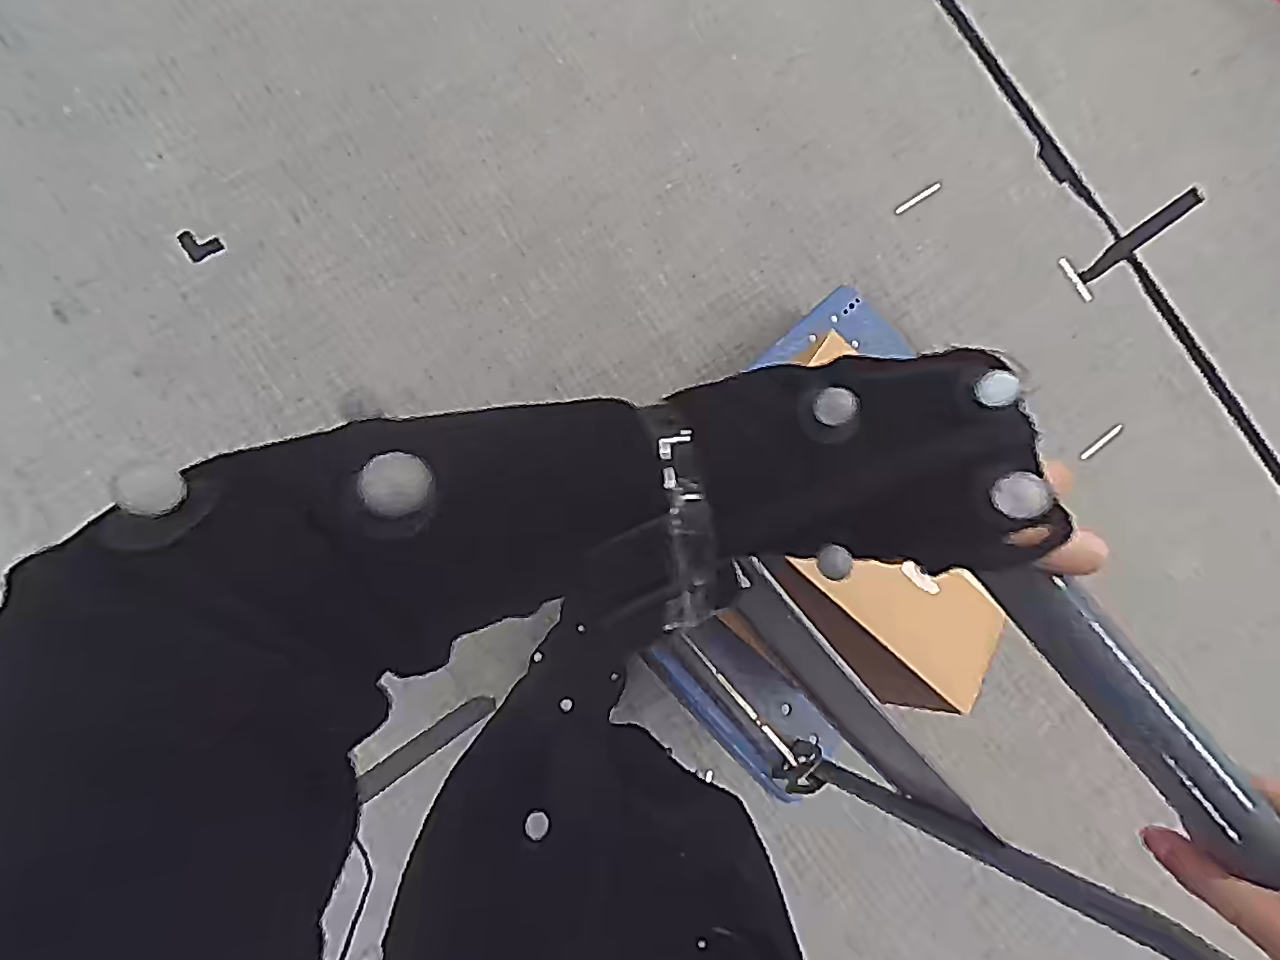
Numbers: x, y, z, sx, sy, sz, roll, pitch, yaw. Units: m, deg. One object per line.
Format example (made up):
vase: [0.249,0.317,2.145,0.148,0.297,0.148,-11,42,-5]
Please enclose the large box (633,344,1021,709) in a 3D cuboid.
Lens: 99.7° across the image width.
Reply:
large box: [0.266,0.084,0.825,0.408,0.320,0.320,41,65,-6]
